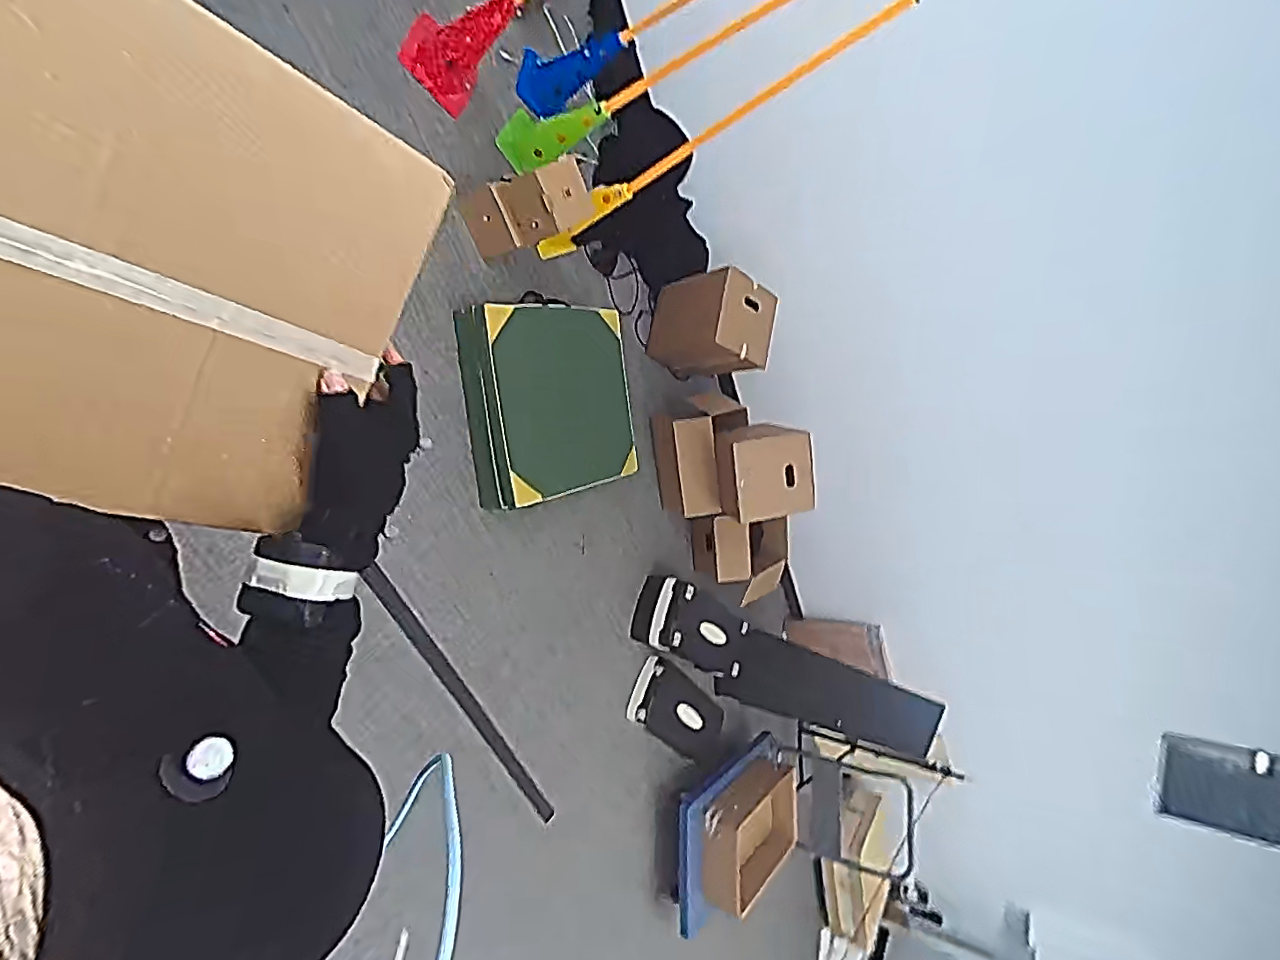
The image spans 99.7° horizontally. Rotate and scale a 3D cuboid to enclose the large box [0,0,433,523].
[{"bbox_3d":[-0.440,-0.197,0.389,0.408,0.320,0.320,16,107,-45],"label":"large box"}]
